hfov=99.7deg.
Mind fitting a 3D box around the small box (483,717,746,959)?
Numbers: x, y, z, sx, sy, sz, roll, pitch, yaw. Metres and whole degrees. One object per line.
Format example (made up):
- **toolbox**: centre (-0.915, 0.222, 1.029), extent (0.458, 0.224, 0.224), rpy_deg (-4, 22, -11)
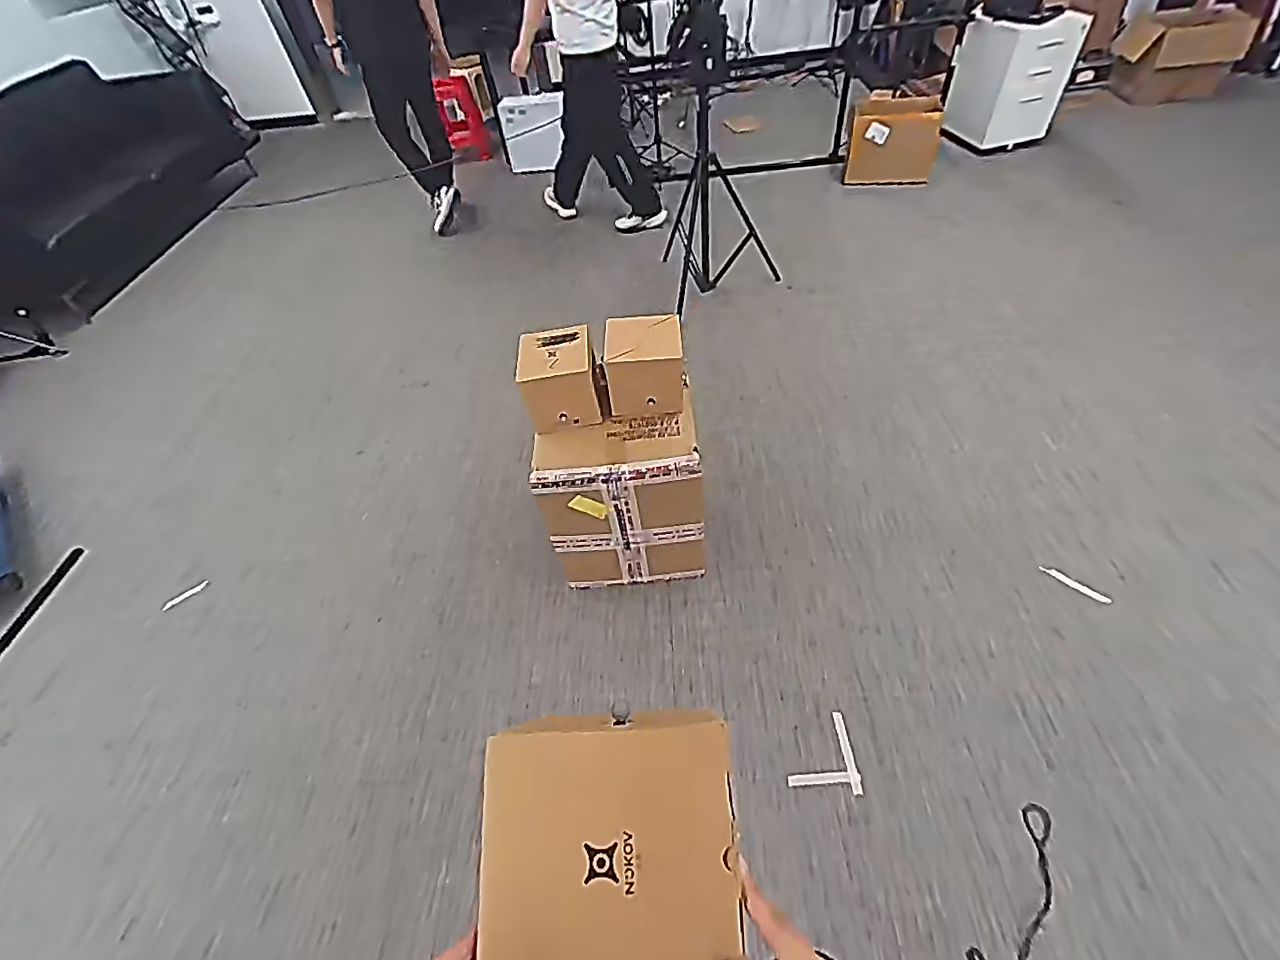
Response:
- **small box**: centre (-0.014, 0.292, 0.448), extent (0.179, 0.176, 0.168), rpy_deg (-4, 69, 2)
